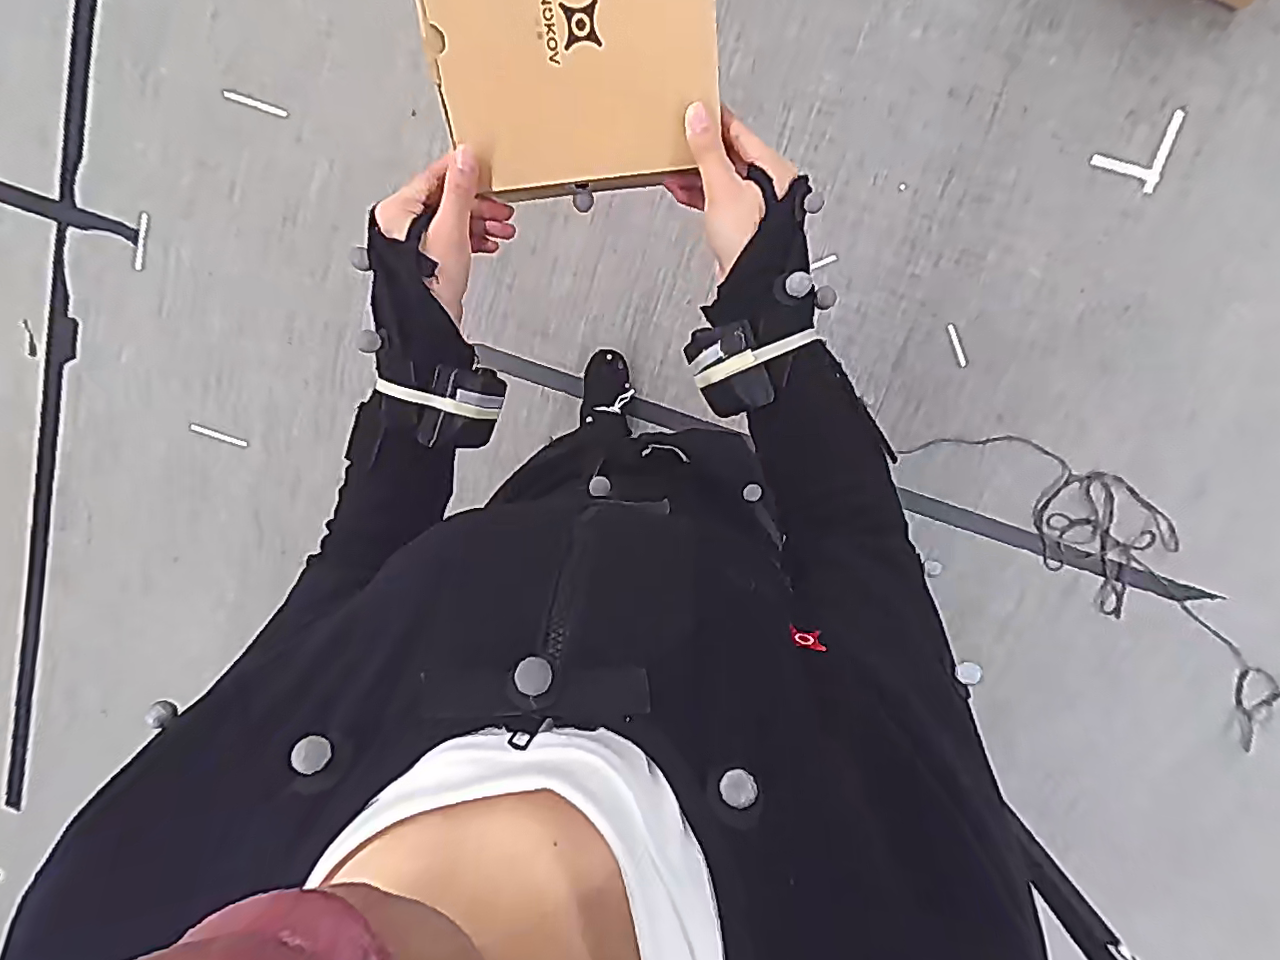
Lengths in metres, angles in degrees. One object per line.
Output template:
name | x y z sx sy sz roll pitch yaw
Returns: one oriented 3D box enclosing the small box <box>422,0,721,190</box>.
small box | -0.045 -0.313 0.393 0.179 0.176 0.168 -7 116 0
